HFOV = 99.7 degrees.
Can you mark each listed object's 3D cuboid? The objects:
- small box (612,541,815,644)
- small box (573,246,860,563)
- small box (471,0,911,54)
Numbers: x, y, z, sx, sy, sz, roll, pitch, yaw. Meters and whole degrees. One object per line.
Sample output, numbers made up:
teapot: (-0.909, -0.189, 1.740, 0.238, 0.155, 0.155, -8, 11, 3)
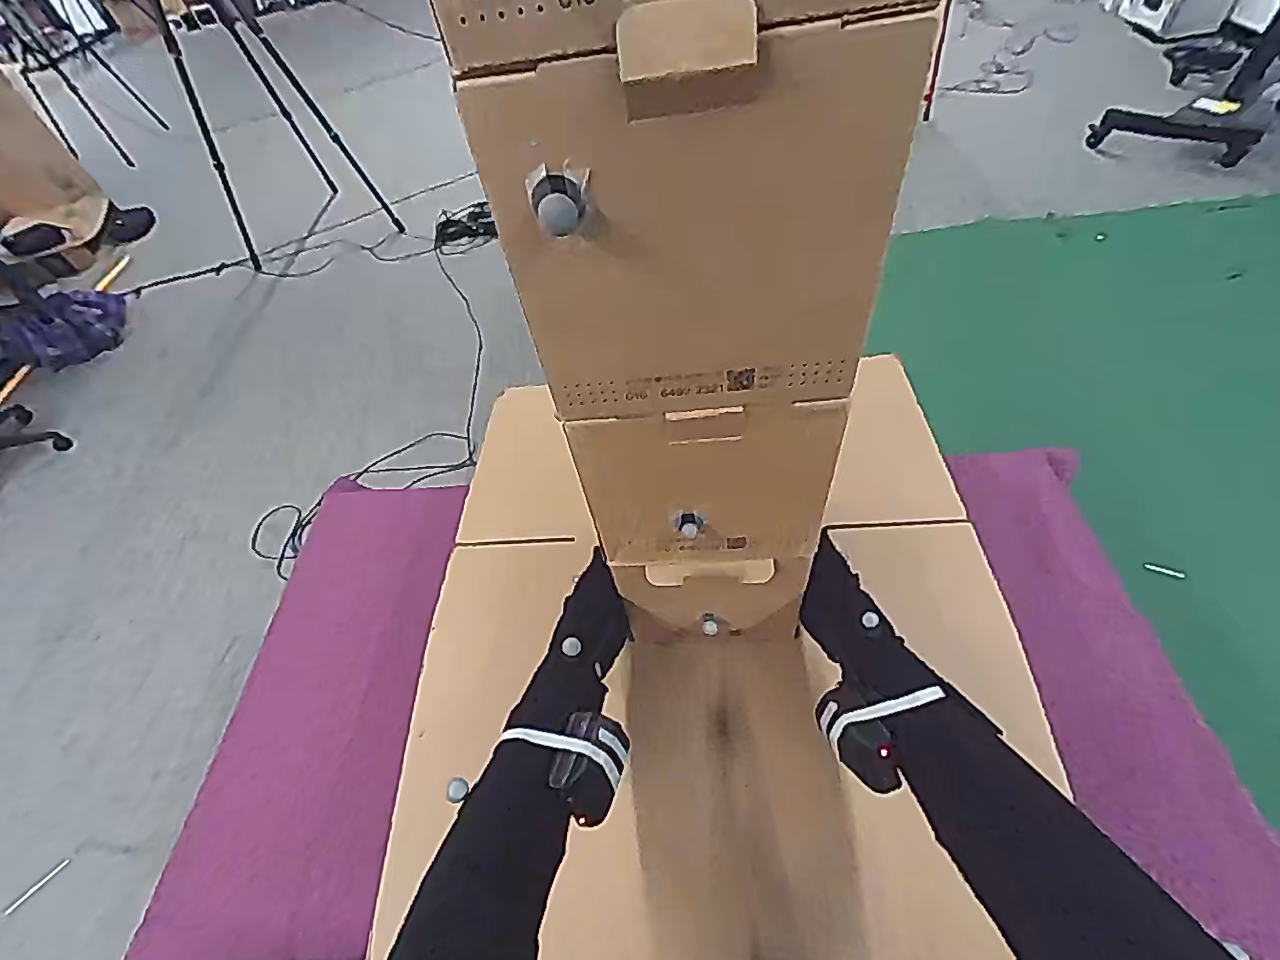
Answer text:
small box: (0.070, 0.048, 0.546, 0.168, 0.176, 0.179, -3, 51, 7)
small box: (0.051, -0.054, 0.420, 0.168, 0.176, 0.179, -4, 51, 5)
small box: (0.012, -0.260, 0.167, 0.168, 0.176, 0.179, -7, 52, 3)
